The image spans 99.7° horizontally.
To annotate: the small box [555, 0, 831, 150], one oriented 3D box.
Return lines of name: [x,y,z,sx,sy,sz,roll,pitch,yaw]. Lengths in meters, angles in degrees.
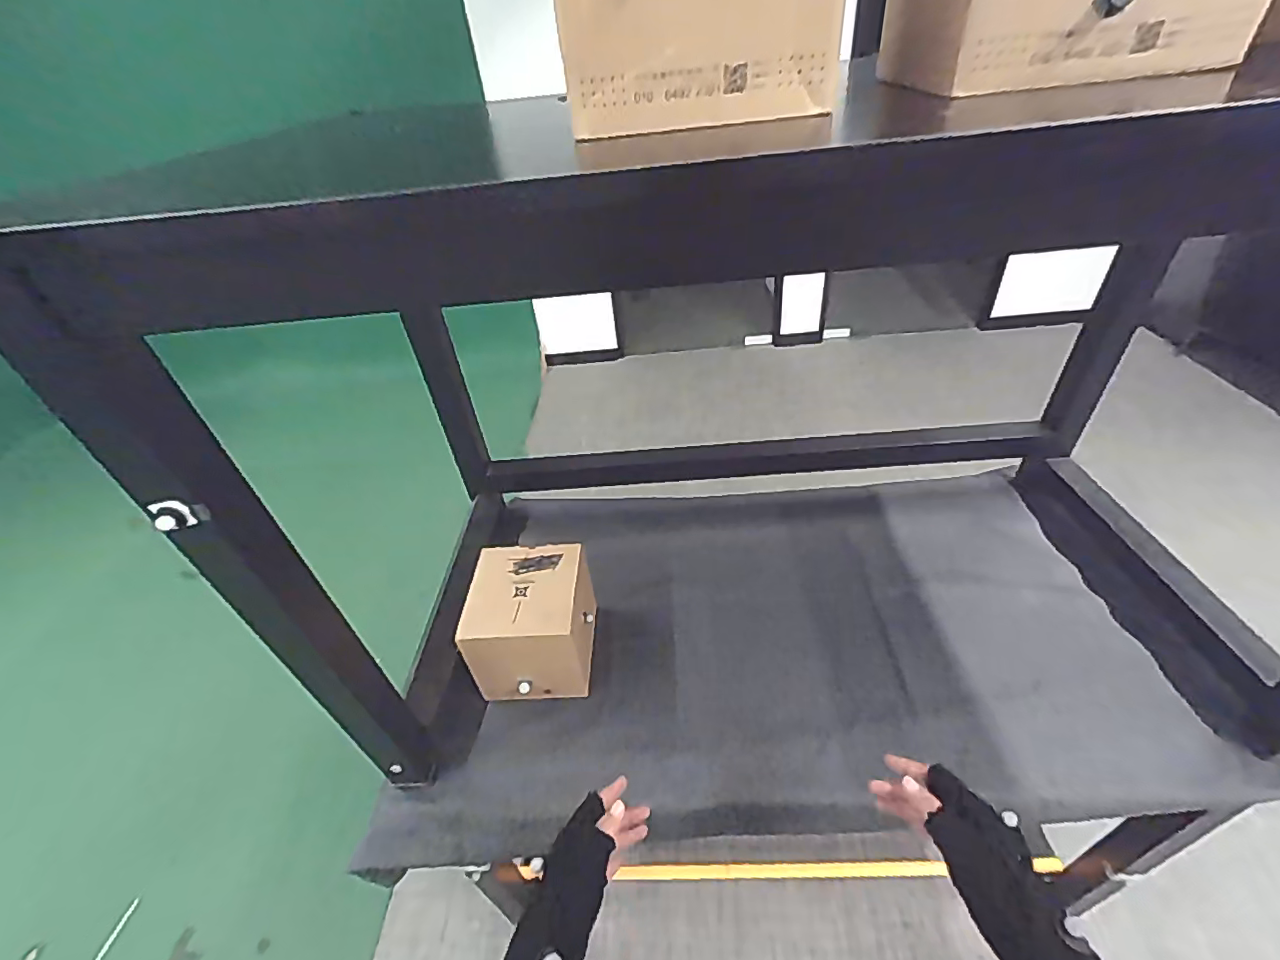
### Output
small box: [0.033,-0.337,0.372,0.168,0.176,0.179,-3,38,4]

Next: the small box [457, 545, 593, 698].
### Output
small box: [-0.170,0.225,0.867,0.168,0.176,0.179,-3,39,4]
